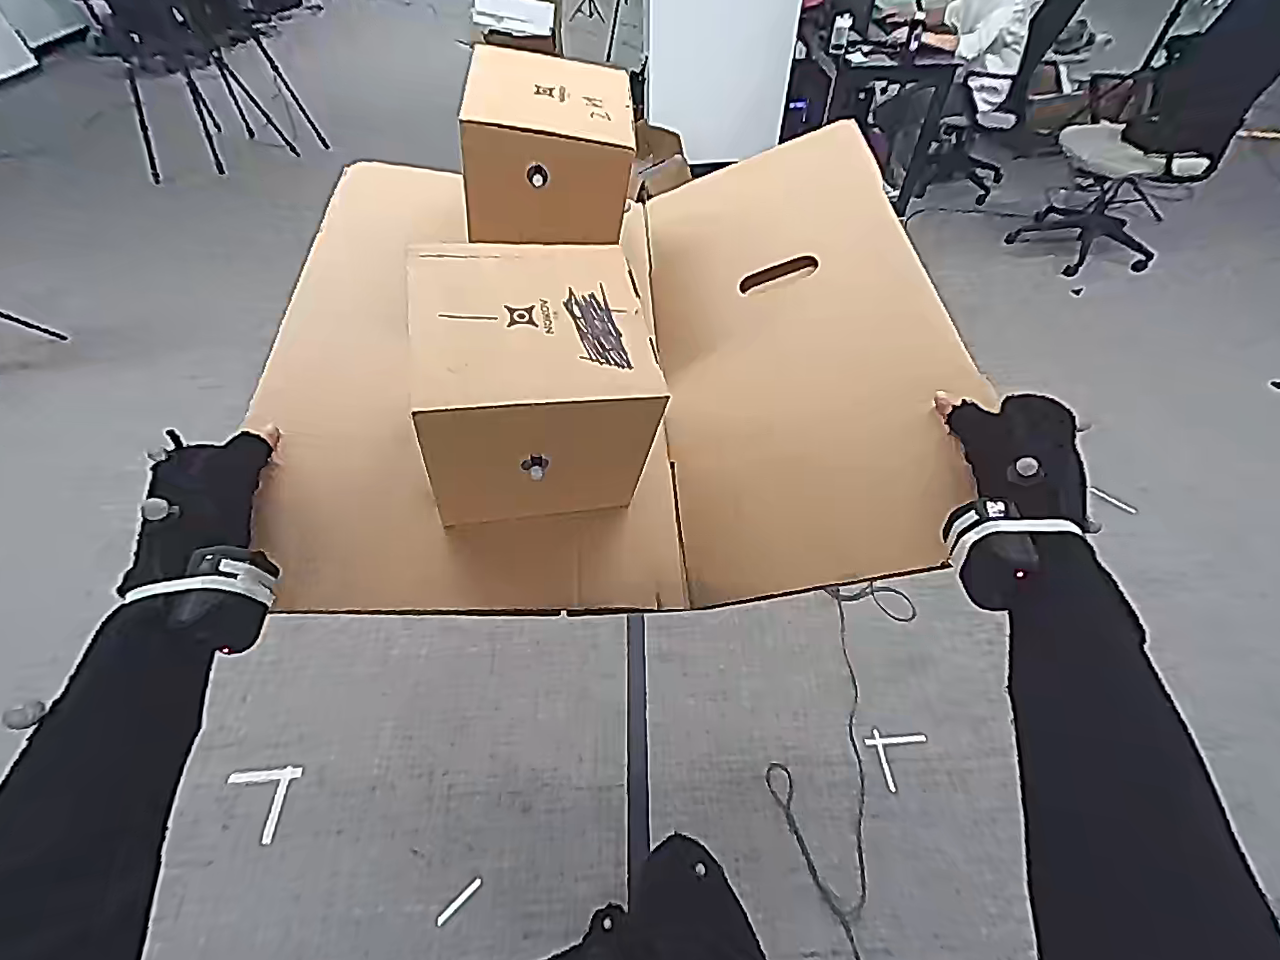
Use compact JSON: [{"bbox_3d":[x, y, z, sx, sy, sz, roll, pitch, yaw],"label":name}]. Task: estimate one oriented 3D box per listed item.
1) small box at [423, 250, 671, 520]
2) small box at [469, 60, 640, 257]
[{"bbox_3d":[-0.090,-0.078,0.483,0.179,0.176,0.168,-5,61,-15],"label":"small box"},{"bbox_3d":[-0.102,-0.362,0.655,0.179,0.176,0.168,4,58,-11],"label":"small box"}]
